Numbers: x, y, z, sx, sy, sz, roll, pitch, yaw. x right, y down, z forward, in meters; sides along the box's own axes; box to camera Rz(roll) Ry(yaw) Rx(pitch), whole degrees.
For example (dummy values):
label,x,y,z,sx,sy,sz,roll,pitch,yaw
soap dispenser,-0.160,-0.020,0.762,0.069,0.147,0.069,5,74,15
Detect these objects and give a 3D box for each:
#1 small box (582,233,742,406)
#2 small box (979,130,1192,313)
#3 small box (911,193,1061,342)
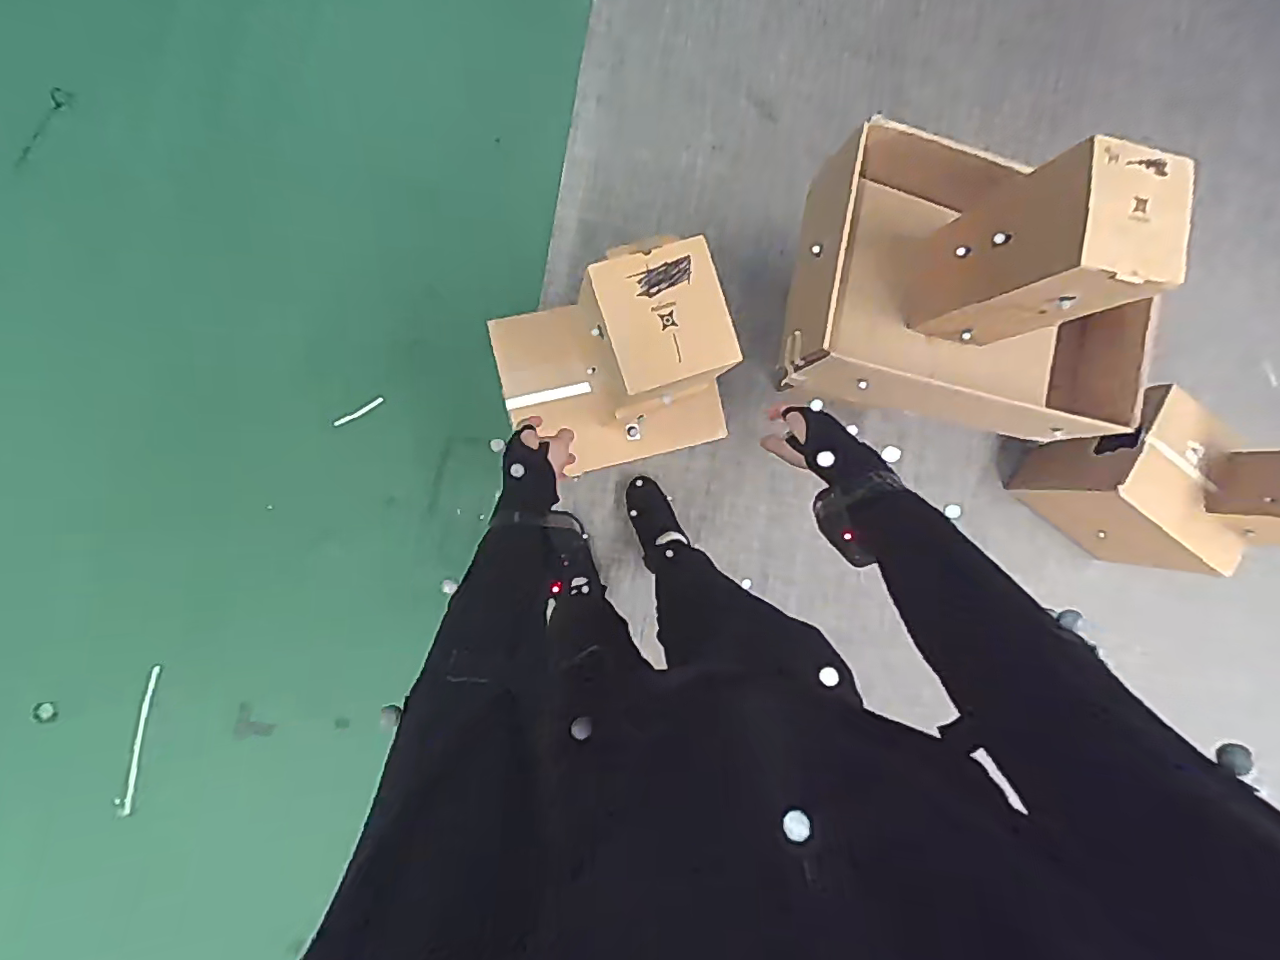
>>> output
label,x,y,z,sx,sy,sz,roll,pitch,yaw
small box,0.021,-0.221,0.782,0.168,0.176,0.179,-19,93,-10
small box,0.636,-0.359,0.791,0.168,0.176,0.179,7,90,-11
small box,0.609,-0.362,0.952,0.168,0.176,0.179,10,89,-10
